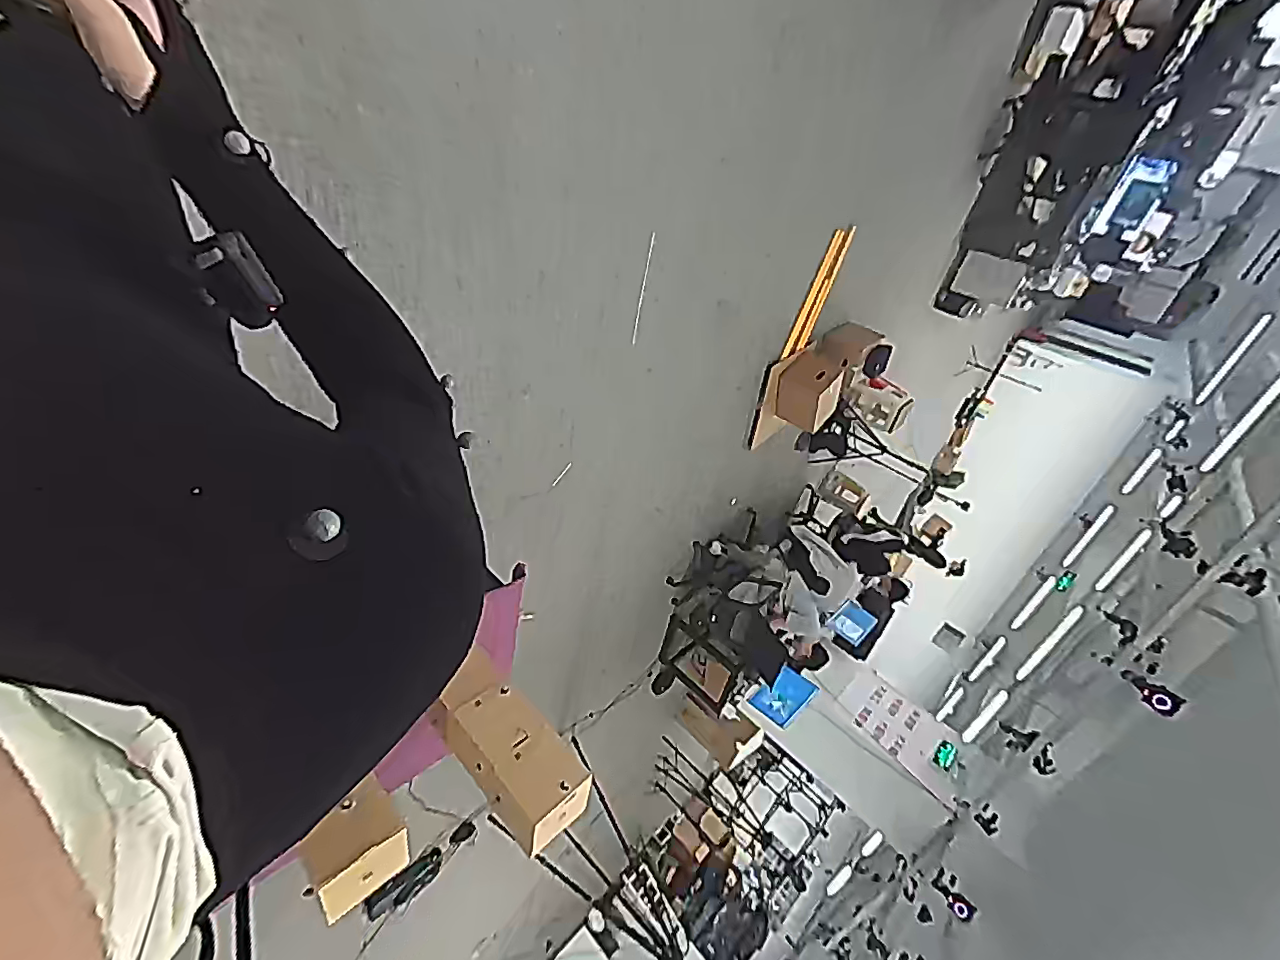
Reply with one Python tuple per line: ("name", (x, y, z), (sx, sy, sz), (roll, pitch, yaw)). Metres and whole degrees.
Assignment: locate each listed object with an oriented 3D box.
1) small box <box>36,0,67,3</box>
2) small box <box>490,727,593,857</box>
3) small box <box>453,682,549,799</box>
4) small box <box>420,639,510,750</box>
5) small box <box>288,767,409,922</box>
("small box", (-0.441, -0.408, 0.293), (0.168, 0.176, 0.179), (-6, 124, -48))
("small box", (-0.236, 0.724, 1.270), (0.168, 0.176, 0.179), (-25, 139, -42))
("small box", (-0.350, 0.636, 1.349), (0.168, 0.176, 0.179), (-24, 139, -42))
("small box", (-0.467, 0.562, 1.436), (0.168, 0.176, 0.179), (-24, 137, -42))
("small box", (-0.594, 0.738, 1.110), (0.168, 0.176, 0.179), (-23, 137, -42))
